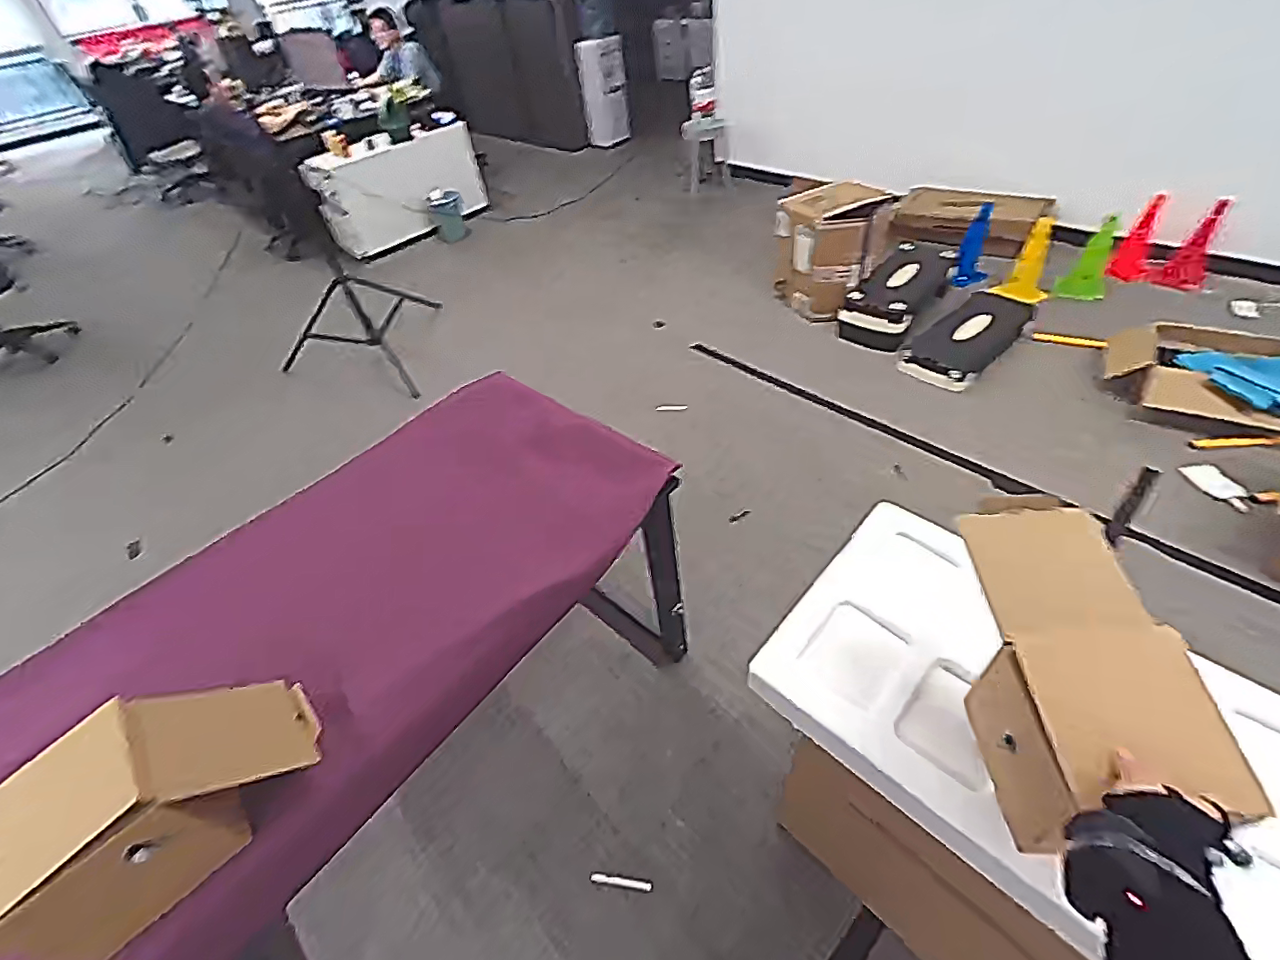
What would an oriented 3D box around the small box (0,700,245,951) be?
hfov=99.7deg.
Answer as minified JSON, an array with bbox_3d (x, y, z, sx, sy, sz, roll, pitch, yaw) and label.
[{"bbox_3d":[-0.621,0.413,0.653,0.179,0.176,0.168,-38,50,-25],"label":"small box"}]
